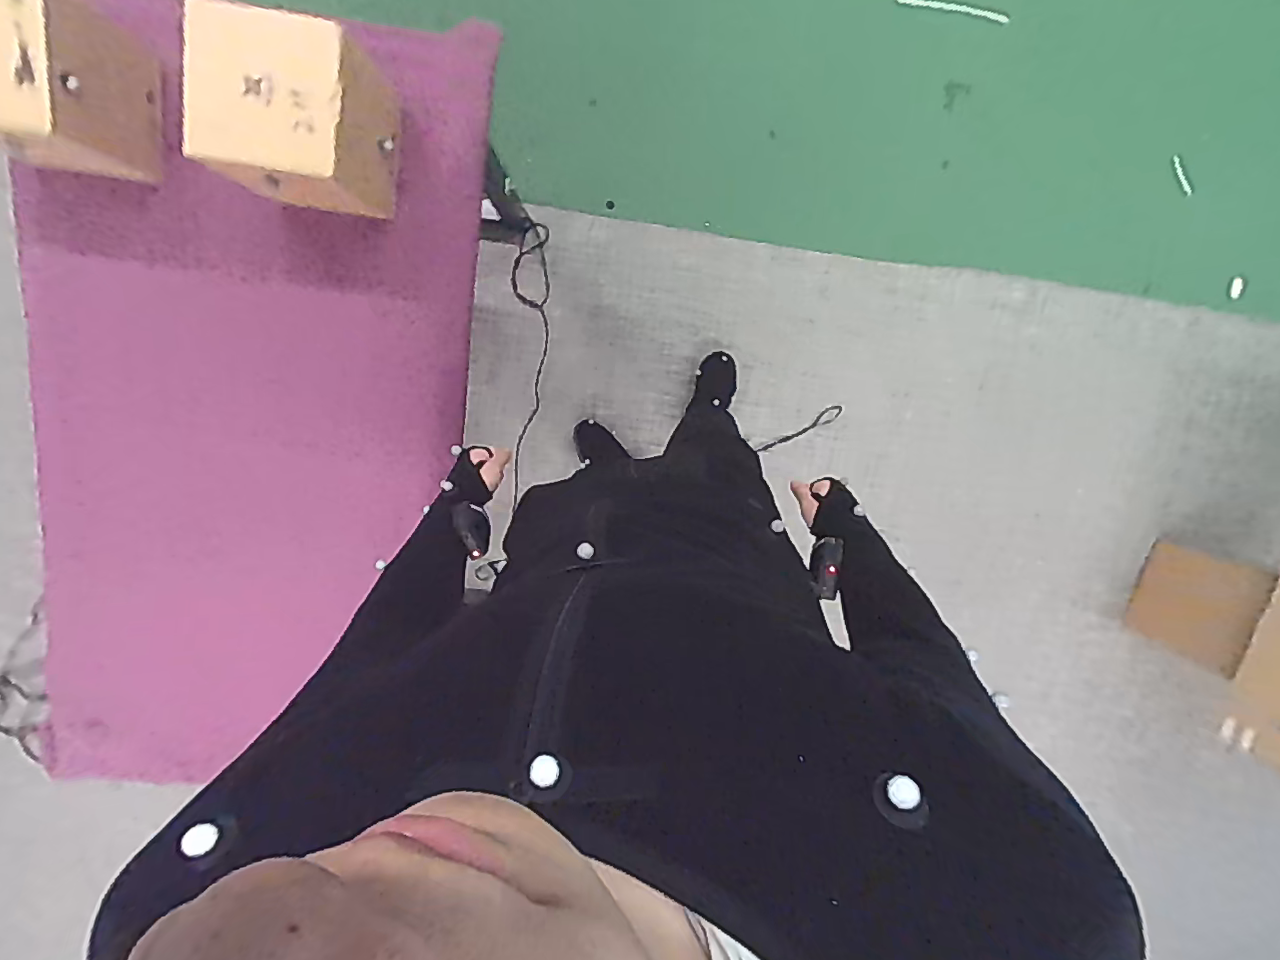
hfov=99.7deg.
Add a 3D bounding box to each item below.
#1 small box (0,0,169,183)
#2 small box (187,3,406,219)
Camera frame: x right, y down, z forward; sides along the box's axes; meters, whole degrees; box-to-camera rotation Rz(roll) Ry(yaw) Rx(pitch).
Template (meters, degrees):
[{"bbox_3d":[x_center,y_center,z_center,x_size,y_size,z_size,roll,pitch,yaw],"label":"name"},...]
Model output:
[{"bbox_3d":[-0.749,-0.496,0.679,0.179,0.176,0.168,6,101,-5],"label":"small box"},{"bbox_3d":[-0.431,-0.457,0.699,0.179,0.176,0.168,9,100,-3],"label":"small box"}]
